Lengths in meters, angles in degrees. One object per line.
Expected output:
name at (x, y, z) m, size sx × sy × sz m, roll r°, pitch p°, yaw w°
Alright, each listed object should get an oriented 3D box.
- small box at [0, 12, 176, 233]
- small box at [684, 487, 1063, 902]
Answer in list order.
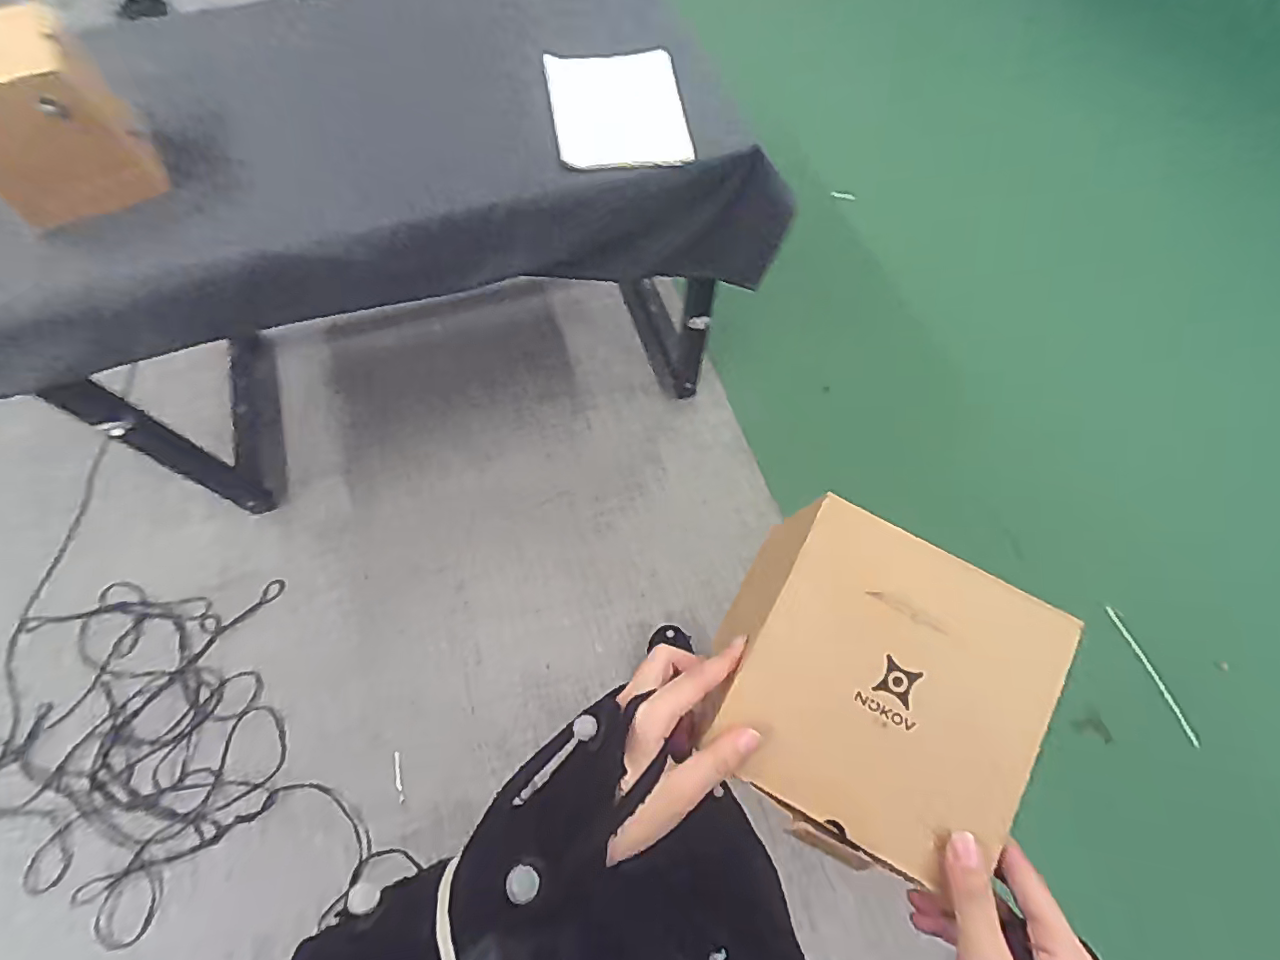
small box at (-0.777, -0.463, 0.714) m, size 0.179 × 0.176 × 0.168 m, roll -28°, pitch 68°, yaw -14°
small box at (0.140, 0.133, 0.389) m, size 0.168 × 0.176 × 0.179 m, roll 27°, pitch 77°, yaw 6°
